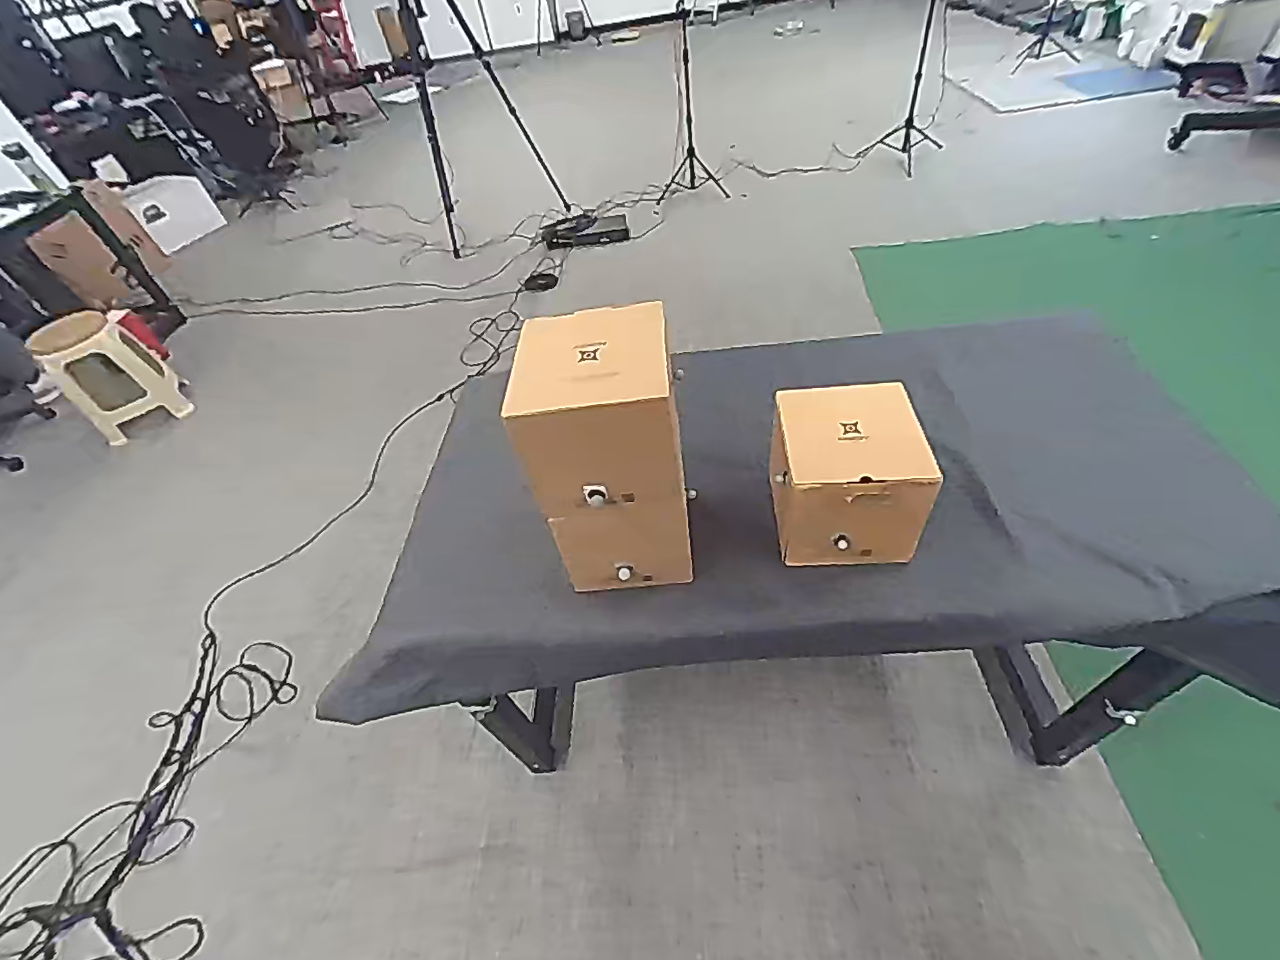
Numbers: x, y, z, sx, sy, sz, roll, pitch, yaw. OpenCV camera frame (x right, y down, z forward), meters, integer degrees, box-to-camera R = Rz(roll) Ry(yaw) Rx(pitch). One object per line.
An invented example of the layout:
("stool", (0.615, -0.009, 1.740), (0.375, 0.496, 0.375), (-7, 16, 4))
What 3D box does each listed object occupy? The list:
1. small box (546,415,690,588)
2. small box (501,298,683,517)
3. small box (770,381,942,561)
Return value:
("small box", (-0.021, 0.027, 0.740), (0.168, 0.176, 0.179), (-6, 48, 5))
("small box", (-0.043, -0.081, 0.620), (0.168, 0.176, 0.179), (-7, 48, 5))
("small box", (0.269, -0.010, 0.725), (0.168, 0.176, 0.179), (-3, 48, 7))
